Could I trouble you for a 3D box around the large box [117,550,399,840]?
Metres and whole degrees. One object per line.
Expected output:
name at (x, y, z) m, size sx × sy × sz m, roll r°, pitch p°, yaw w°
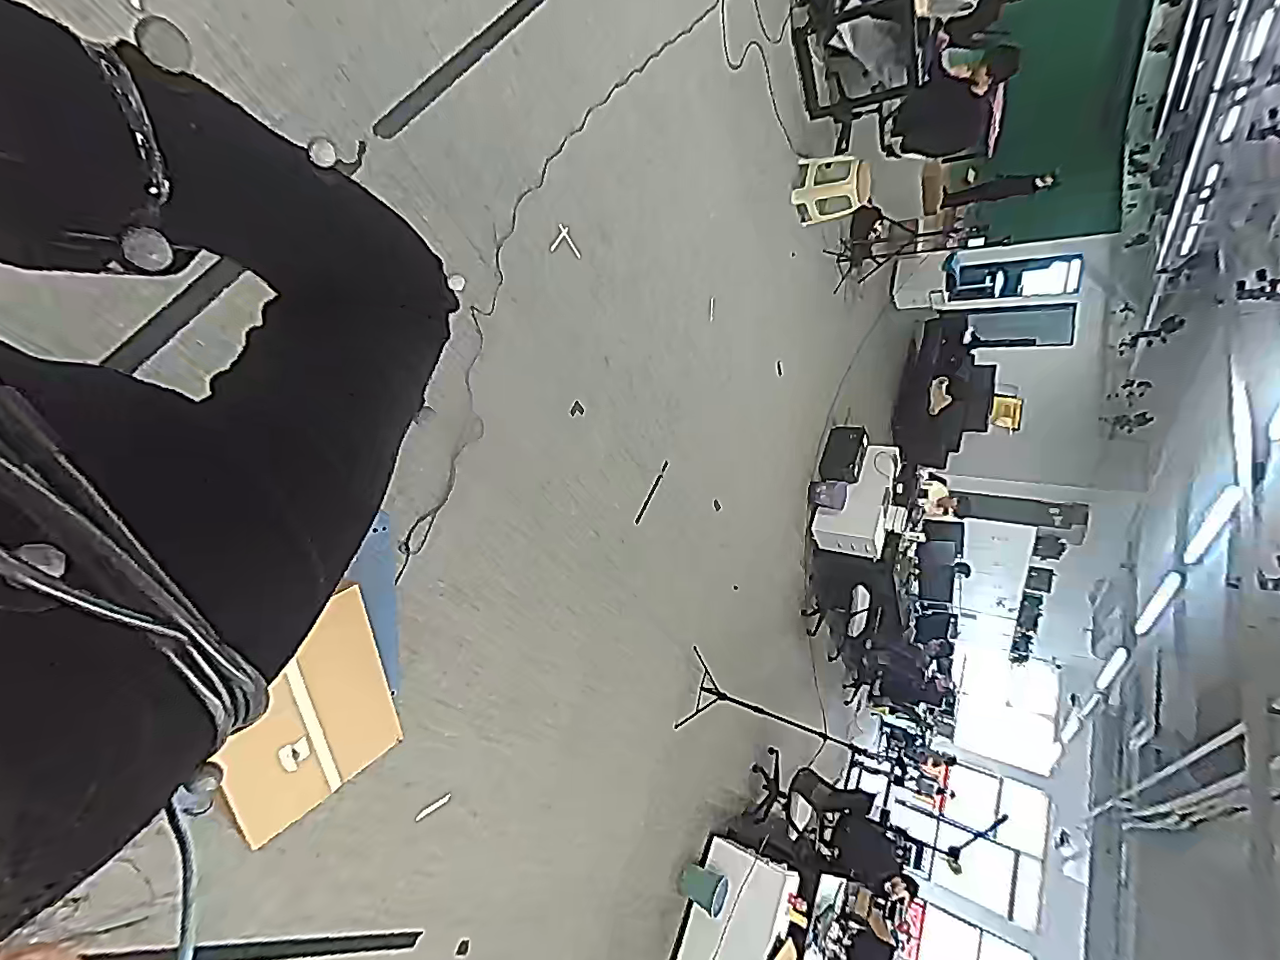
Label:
large box at (-0.770, 0.410, 1.120) m, size 0.320 × 0.320 × 0.408 m, roll -29°, pitch 121°, yaw -48°
